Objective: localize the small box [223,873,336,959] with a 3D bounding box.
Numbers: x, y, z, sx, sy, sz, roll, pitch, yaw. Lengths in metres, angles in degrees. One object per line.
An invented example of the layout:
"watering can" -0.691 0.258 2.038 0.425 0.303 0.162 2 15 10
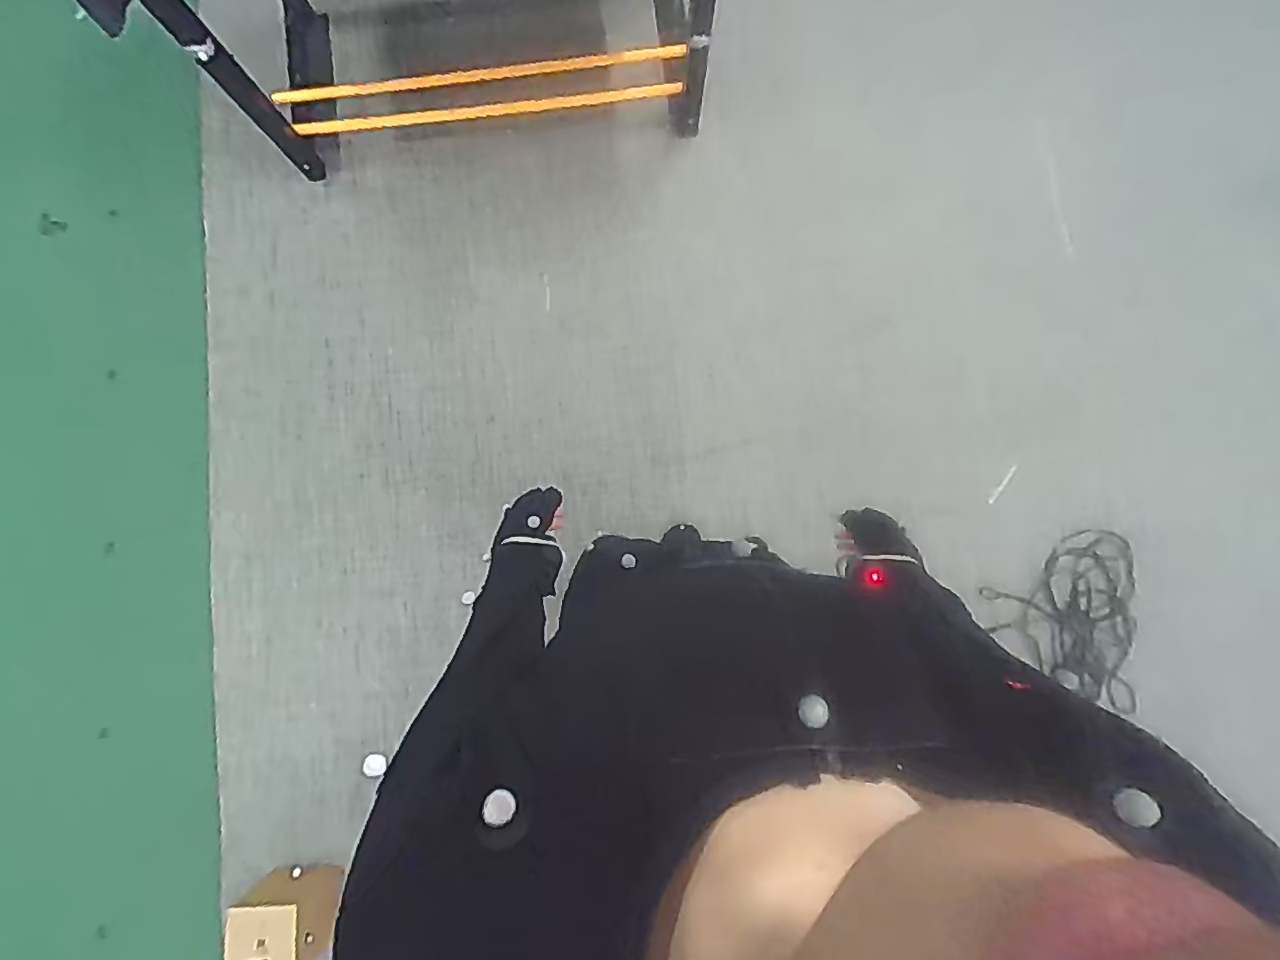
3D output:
"small box" -0.858 1.087 1.298 0.168 0.176 0.179 -3 82 0
